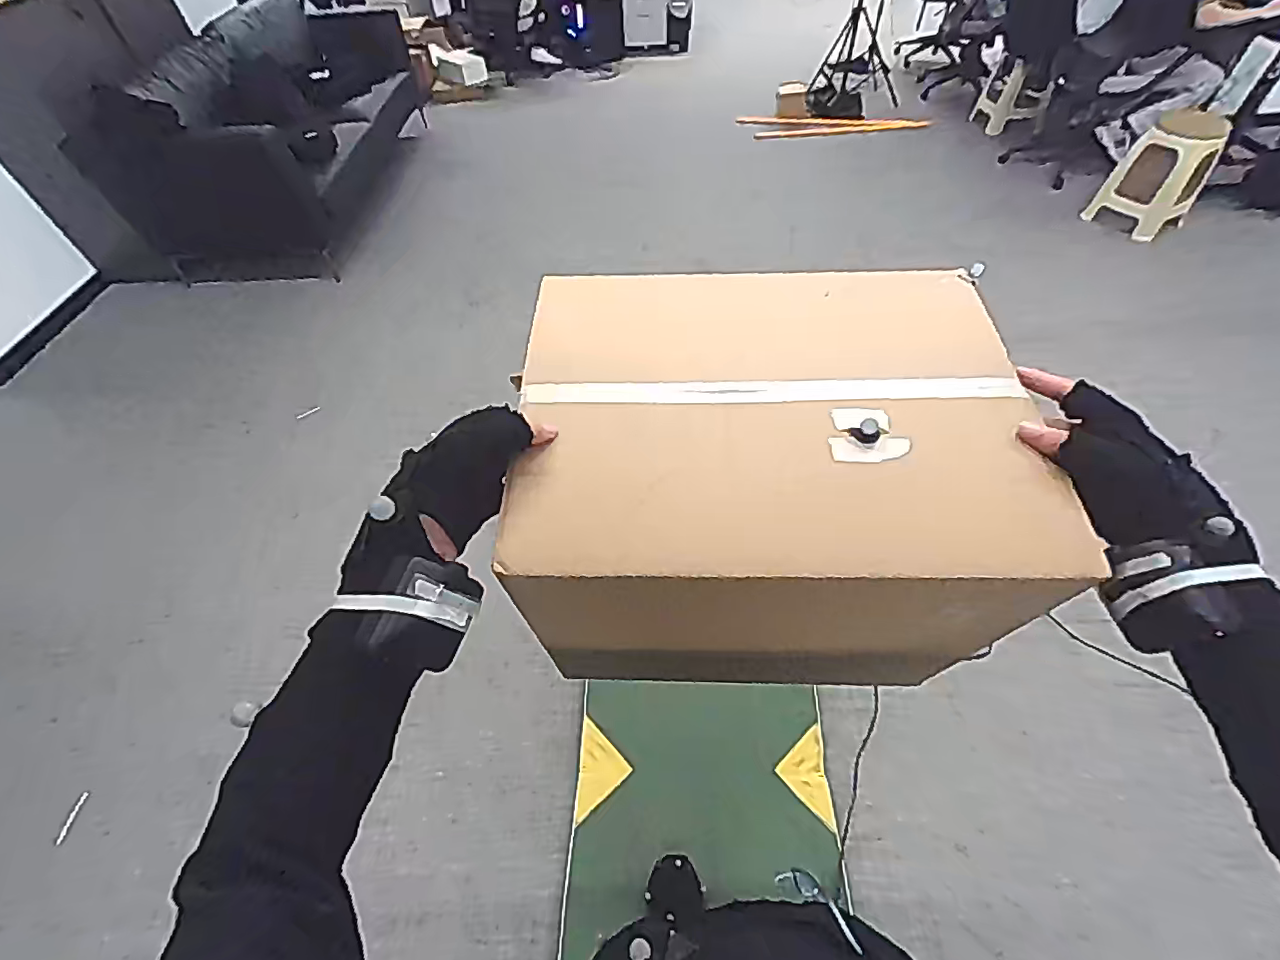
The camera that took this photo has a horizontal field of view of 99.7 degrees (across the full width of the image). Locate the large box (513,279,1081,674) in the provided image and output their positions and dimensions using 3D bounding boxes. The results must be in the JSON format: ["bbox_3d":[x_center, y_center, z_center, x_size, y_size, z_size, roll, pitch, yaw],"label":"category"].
[{"bbox_3d":[0.109,0.012,0.578,0.408,0.320,0.320,0,58,1],"label":"large box"}]
